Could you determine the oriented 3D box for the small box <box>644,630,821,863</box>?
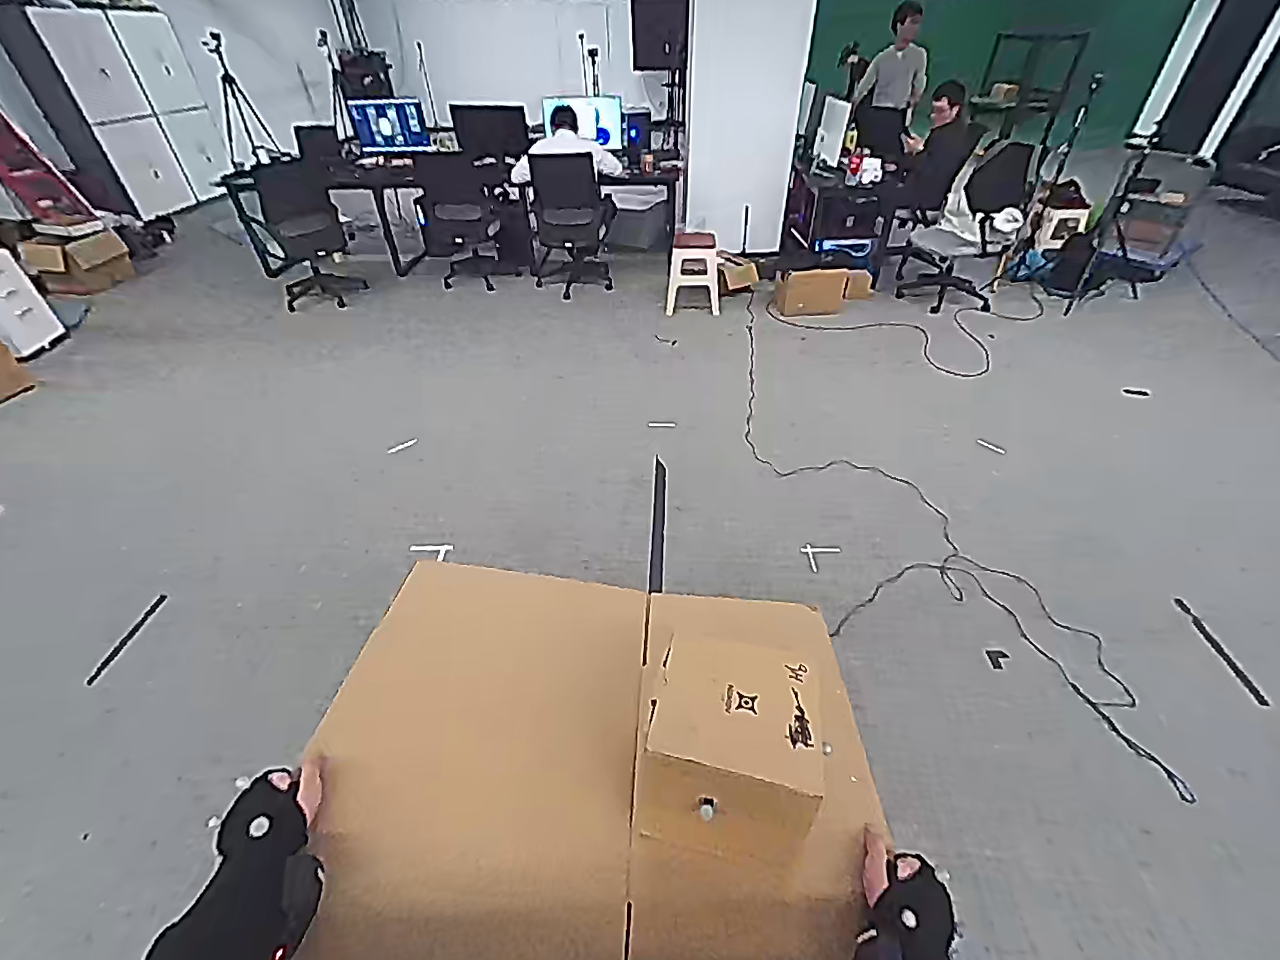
[{"bbox_3d":[0.106,0.308,0.634,0.179,0.176,0.168,8,34,11],"label":"small box"}]
